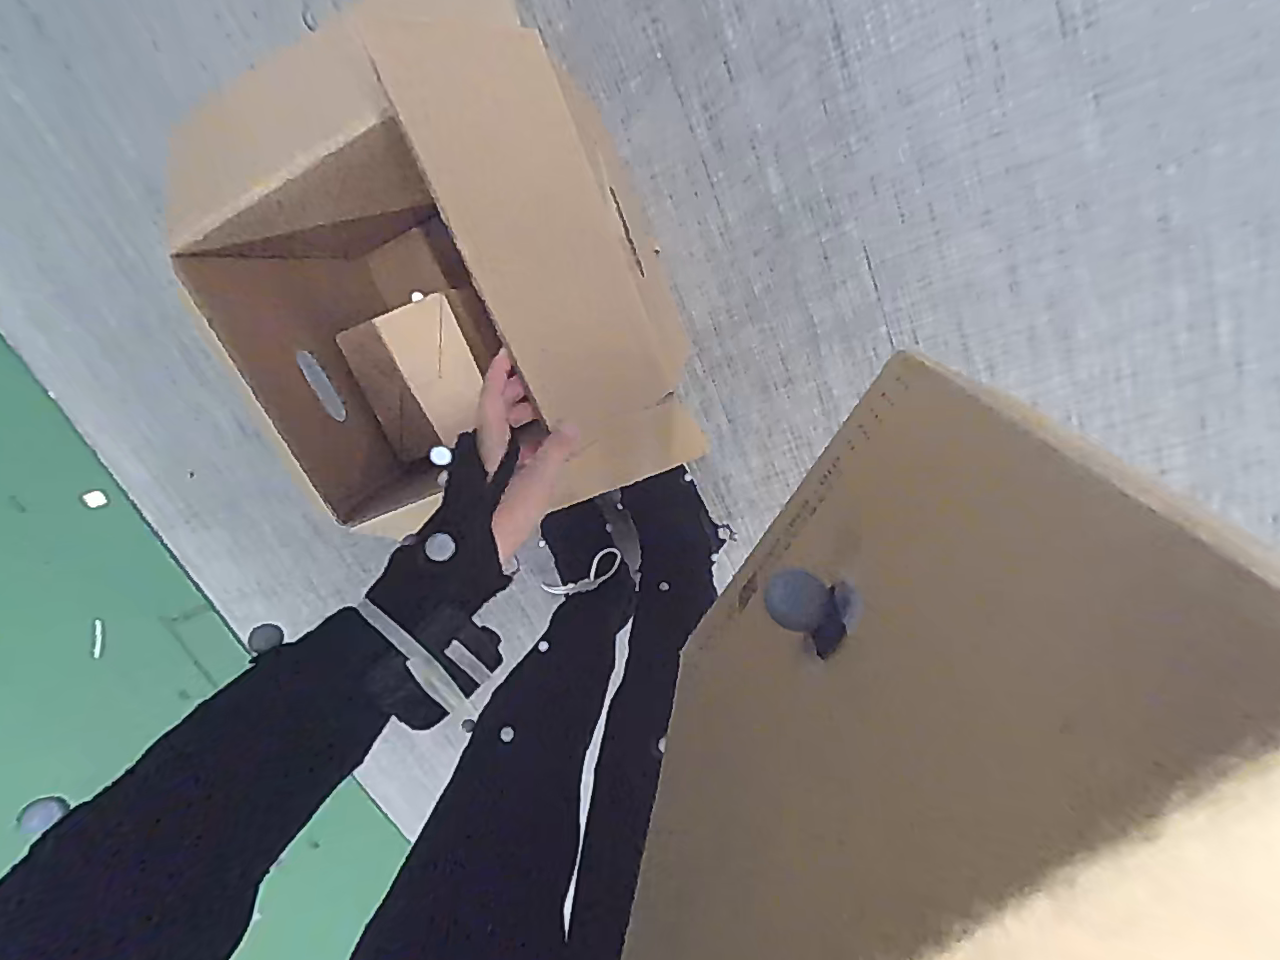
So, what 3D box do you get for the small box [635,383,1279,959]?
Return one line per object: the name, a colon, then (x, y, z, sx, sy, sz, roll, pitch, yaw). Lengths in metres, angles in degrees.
small box: (0.114, 0.086, 0.160, 0.179, 0.176, 0.168, 29, 114, -1)
